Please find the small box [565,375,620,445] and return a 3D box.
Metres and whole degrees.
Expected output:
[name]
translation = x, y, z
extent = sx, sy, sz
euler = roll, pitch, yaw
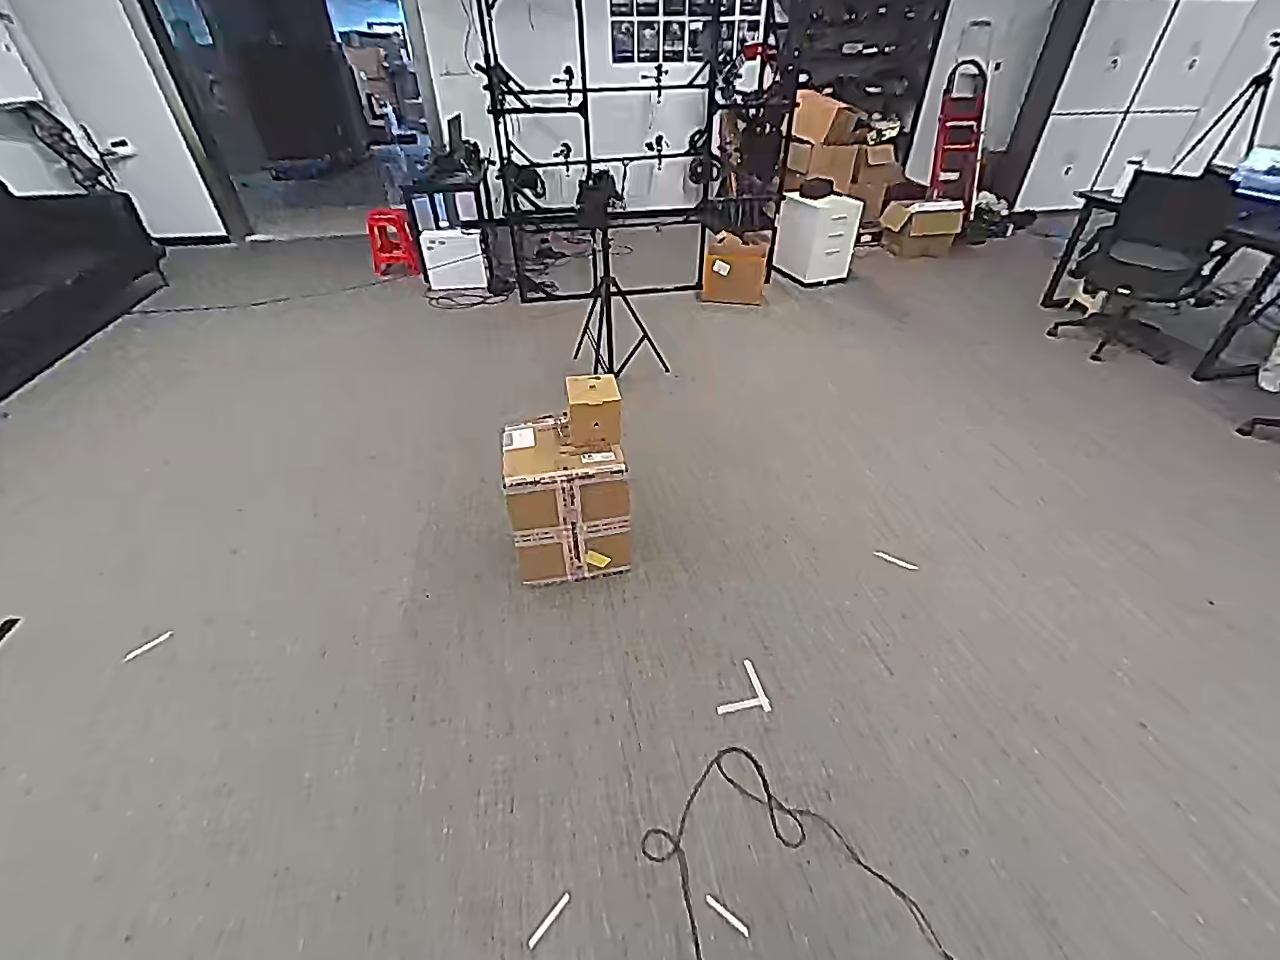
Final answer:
[small box]
translation = -0.157, -0.230, 1.813
extent = 0.168, 0.176, 0.179
euler = -6, 41, -10
